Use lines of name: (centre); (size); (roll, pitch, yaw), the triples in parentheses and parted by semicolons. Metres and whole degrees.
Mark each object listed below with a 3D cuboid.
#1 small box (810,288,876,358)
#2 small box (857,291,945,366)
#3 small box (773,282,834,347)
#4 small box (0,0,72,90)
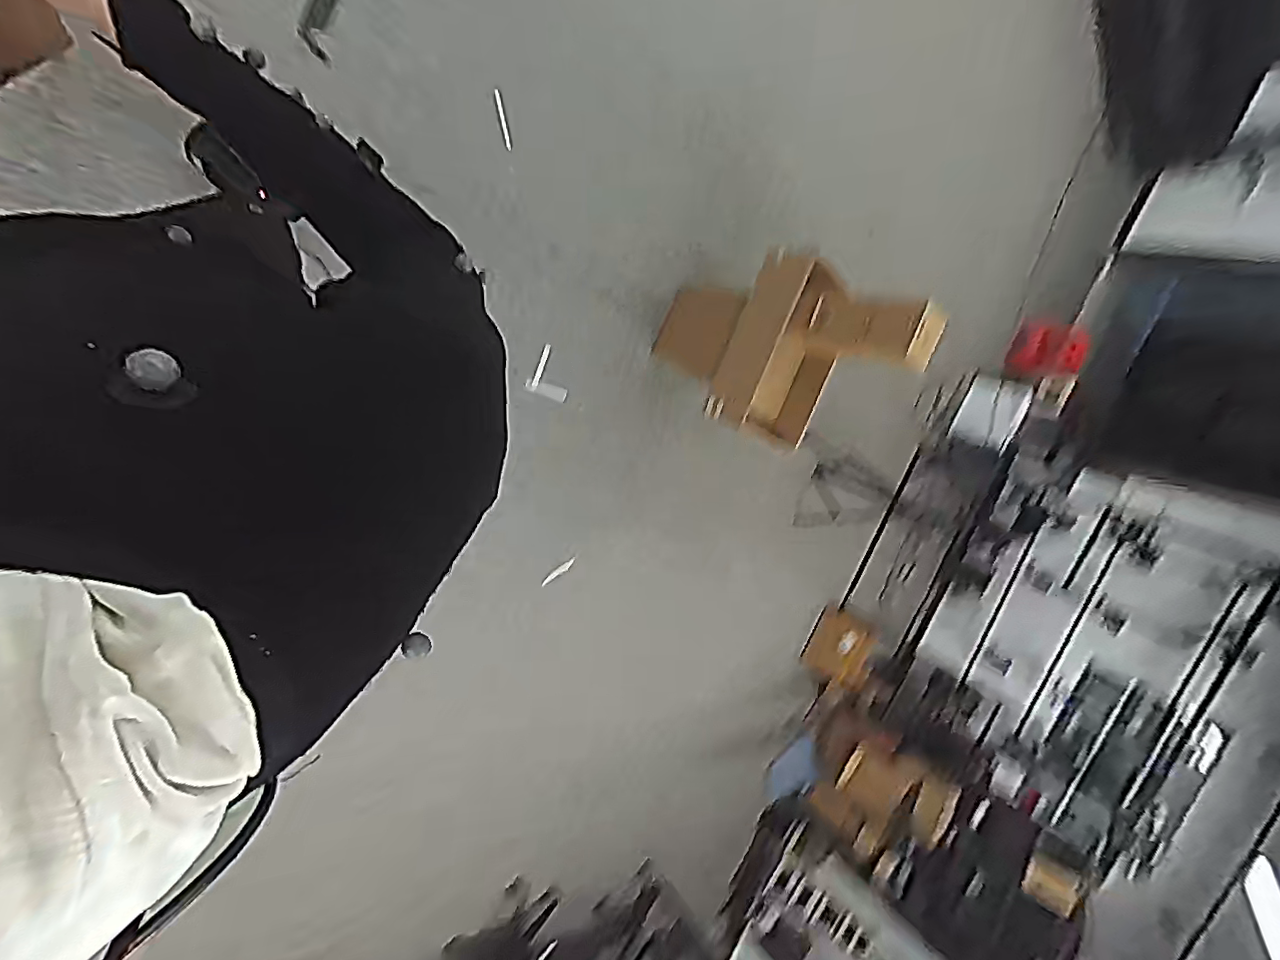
small box: (0.696, -0.520, 1.784); (0.179, 0.176, 0.168); (13, 101, -45)
small box: (0.804, -0.470, 1.670); (0.179, 0.176, 0.168); (12, 101, -47)
small box: (0.596, -0.582, 1.899); (0.179, 0.176, 0.168); (14, 100, -47)
small box: (-0.557, -0.377, 0.364); (0.168, 0.176, 0.179); (-47, 130, -15)
